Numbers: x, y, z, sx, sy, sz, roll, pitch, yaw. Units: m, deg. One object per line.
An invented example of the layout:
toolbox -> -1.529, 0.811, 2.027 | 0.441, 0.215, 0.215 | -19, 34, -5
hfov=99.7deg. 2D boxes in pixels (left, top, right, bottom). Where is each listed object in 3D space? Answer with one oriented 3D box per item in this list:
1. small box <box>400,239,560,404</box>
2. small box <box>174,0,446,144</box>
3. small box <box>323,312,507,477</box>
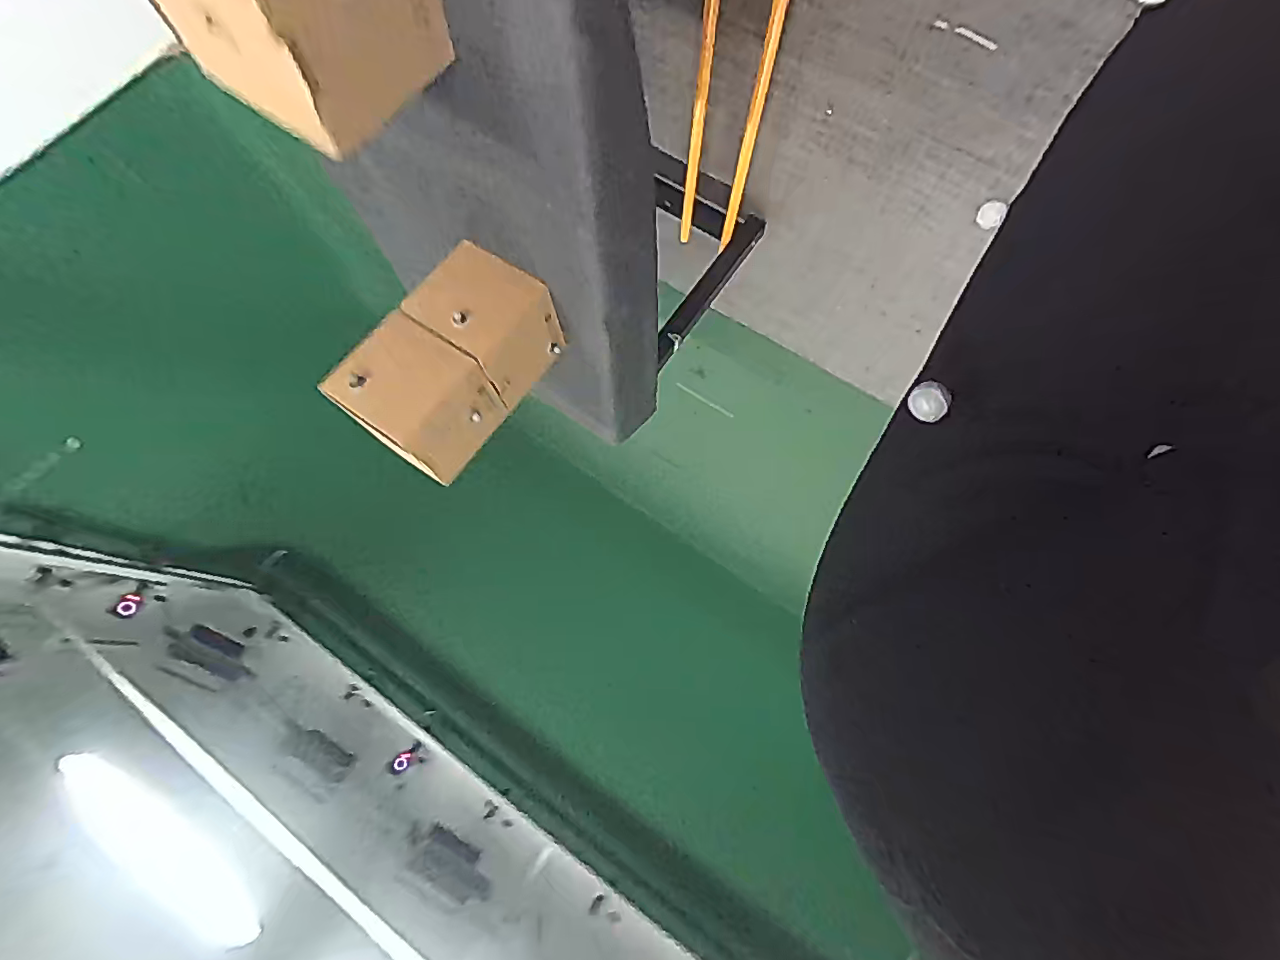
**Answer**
small box -> -0.251, -0.266, 0.909 | 0.179, 0.176, 0.168 | 34, 165, 14
small box -> -0.290, -0.444, 0.457 | 0.179, 0.176, 0.168 | 35, 164, 6
small box -> -0.348, -0.139, 0.868 | 0.179, 0.176, 0.168 | 32, 165, 16
